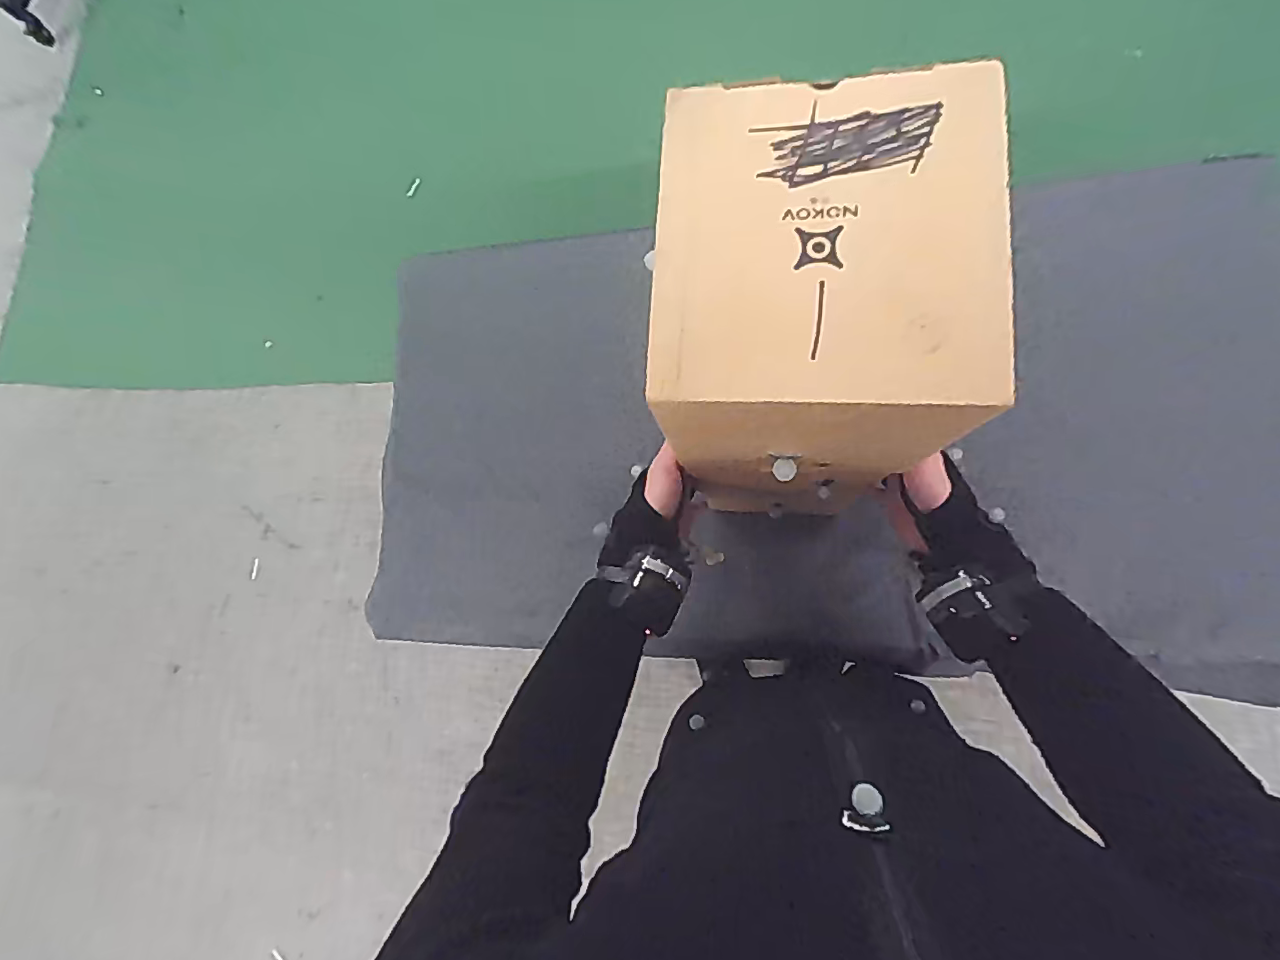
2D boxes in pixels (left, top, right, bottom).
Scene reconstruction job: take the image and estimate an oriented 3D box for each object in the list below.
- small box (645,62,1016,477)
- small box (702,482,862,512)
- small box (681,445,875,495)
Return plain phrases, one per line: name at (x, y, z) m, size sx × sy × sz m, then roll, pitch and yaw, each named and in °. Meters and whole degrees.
small box at (0.103, -0.104, 0.337) m, size 0.168 × 0.176 × 0.179 m, roll 2°, pitch 82°, yaw 12°
small box at (0.170, -0.056, 0.653) m, size 0.168 × 0.176 × 0.179 m, roll 1°, pitch 81°, yaw 12°
small box at (0.133, -0.082, 0.496) m, size 0.168 × 0.176 × 0.179 m, roll 1°, pitch 80°, yaw 11°
